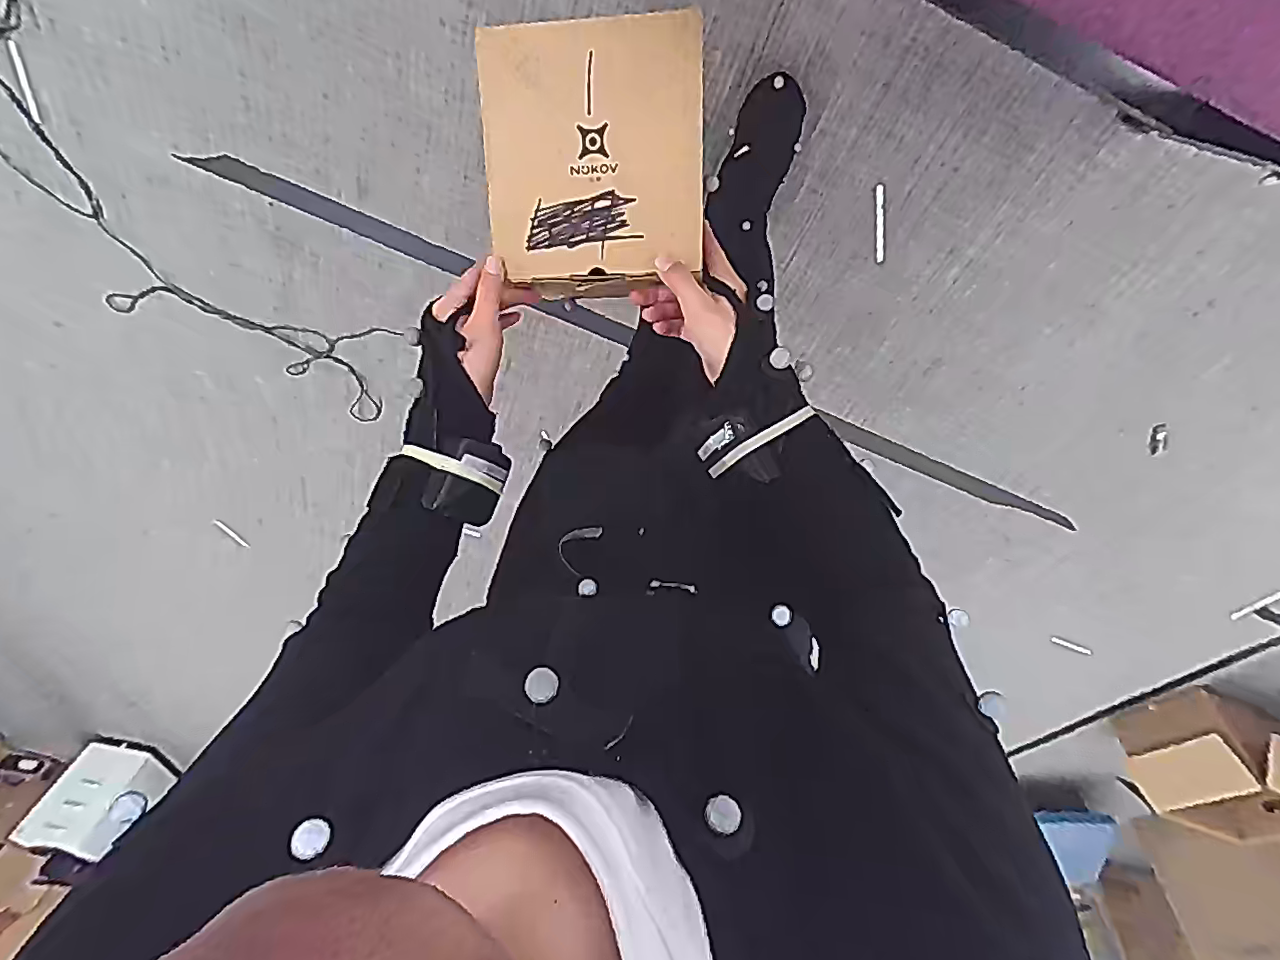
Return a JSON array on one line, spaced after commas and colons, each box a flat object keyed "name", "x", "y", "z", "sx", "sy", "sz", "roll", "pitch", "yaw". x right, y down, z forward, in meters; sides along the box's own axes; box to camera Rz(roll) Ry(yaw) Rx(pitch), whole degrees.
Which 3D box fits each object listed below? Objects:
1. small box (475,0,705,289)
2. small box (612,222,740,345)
[{"name": "small box", "x": -0.028, "y": -0.265, "z": 0.473, "sx": 0.168, "sy": 0.176, "sz": 0.179, "roll": -1, "pitch": 103, "yaw": 4}, {"name": "small box", "x": 0.068, "y": -0.378, "z": 1.014, "sx": 0.168, "sy": 0.176, "sz": 0.179, "roll": 40, "pitch": 124, "yaw": -21}]
